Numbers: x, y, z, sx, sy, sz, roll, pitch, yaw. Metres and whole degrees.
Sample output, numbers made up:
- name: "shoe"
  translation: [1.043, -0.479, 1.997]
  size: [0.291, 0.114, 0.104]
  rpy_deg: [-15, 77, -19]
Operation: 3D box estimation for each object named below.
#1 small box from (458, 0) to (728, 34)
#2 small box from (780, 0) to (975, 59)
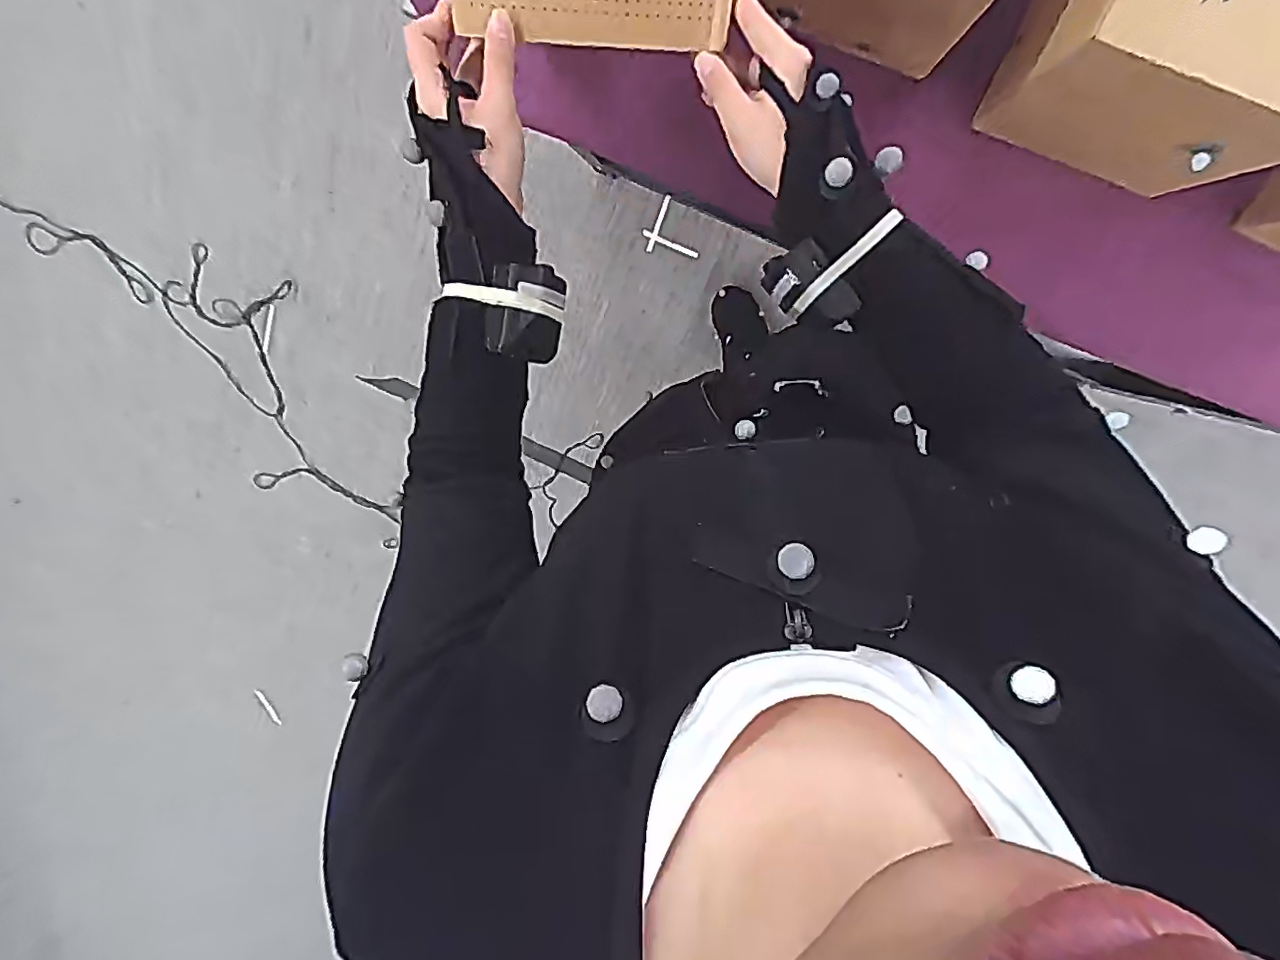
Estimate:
- name: "small box"
  translation: [-0.023, -0.396, 0.341]
  size: [0.179, 0.168, 0.176]
  rpy_deg: [2, 133, -2]
- name: "small box"
  translation: [0.194, -0.441, 0.372]
  size: [0.168, 0.176, 0.179]
  rpy_deg: [22, 109, 0]
